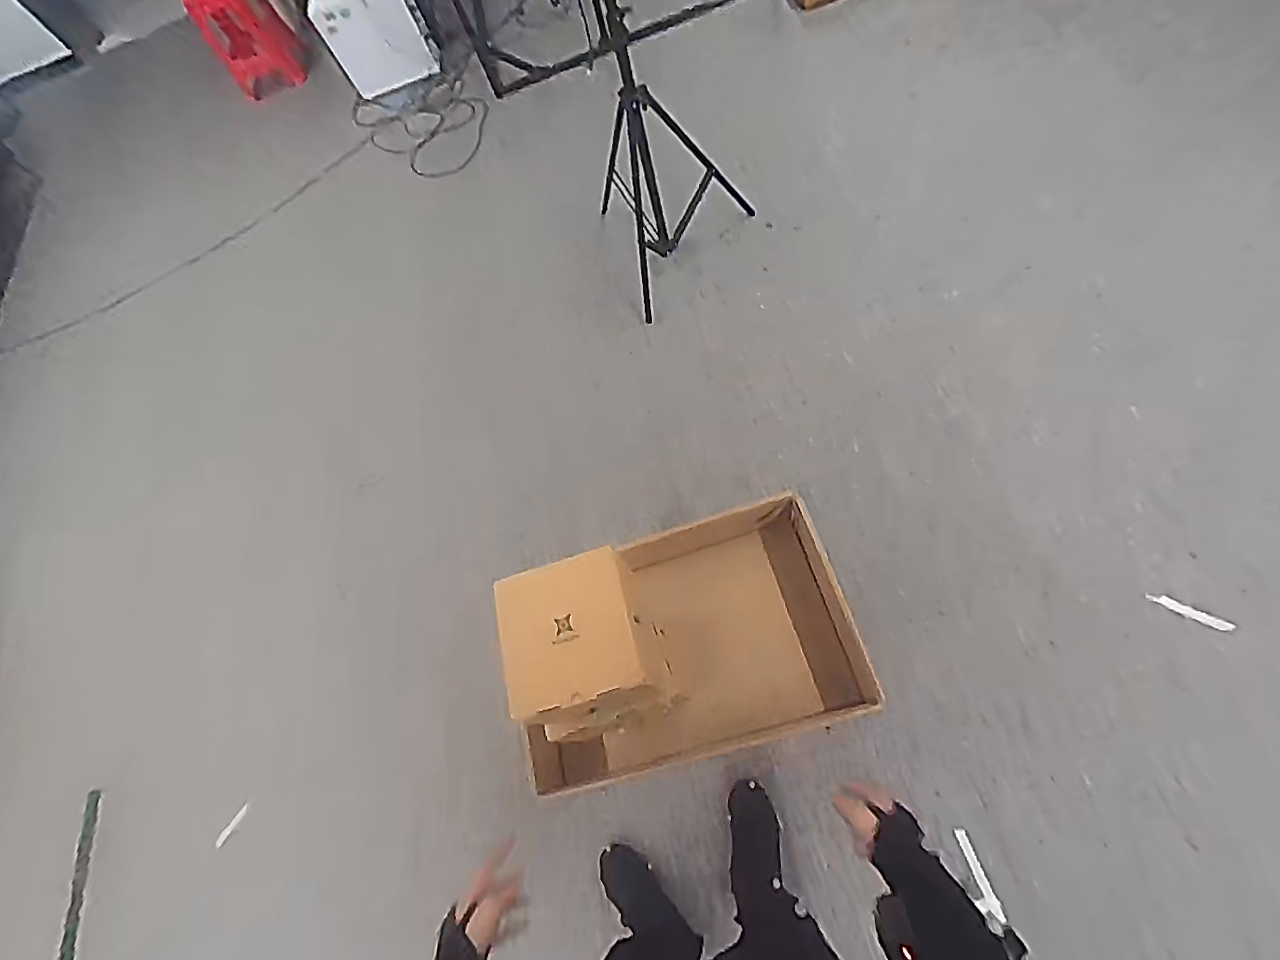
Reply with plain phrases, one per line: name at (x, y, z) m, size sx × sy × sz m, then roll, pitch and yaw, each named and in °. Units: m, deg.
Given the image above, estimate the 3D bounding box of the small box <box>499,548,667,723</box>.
small box at (-0.071, 0.217, 0.731) m, size 0.168 × 0.176 × 0.179 m, roll -19°, pitch 64°, yaw 3°

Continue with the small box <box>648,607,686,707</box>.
small box at (-0.020, 0.358, 1.021) m, size 0.179 × 0.176 × 0.168 m, roll -23°, pitch 64°, yaw 2°

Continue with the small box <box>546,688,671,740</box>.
small box at (-0.061, 0.303, 0.872) m, size 0.168 × 0.176 × 0.179 m, roll -21°, pitch 64°, yaw 2°
